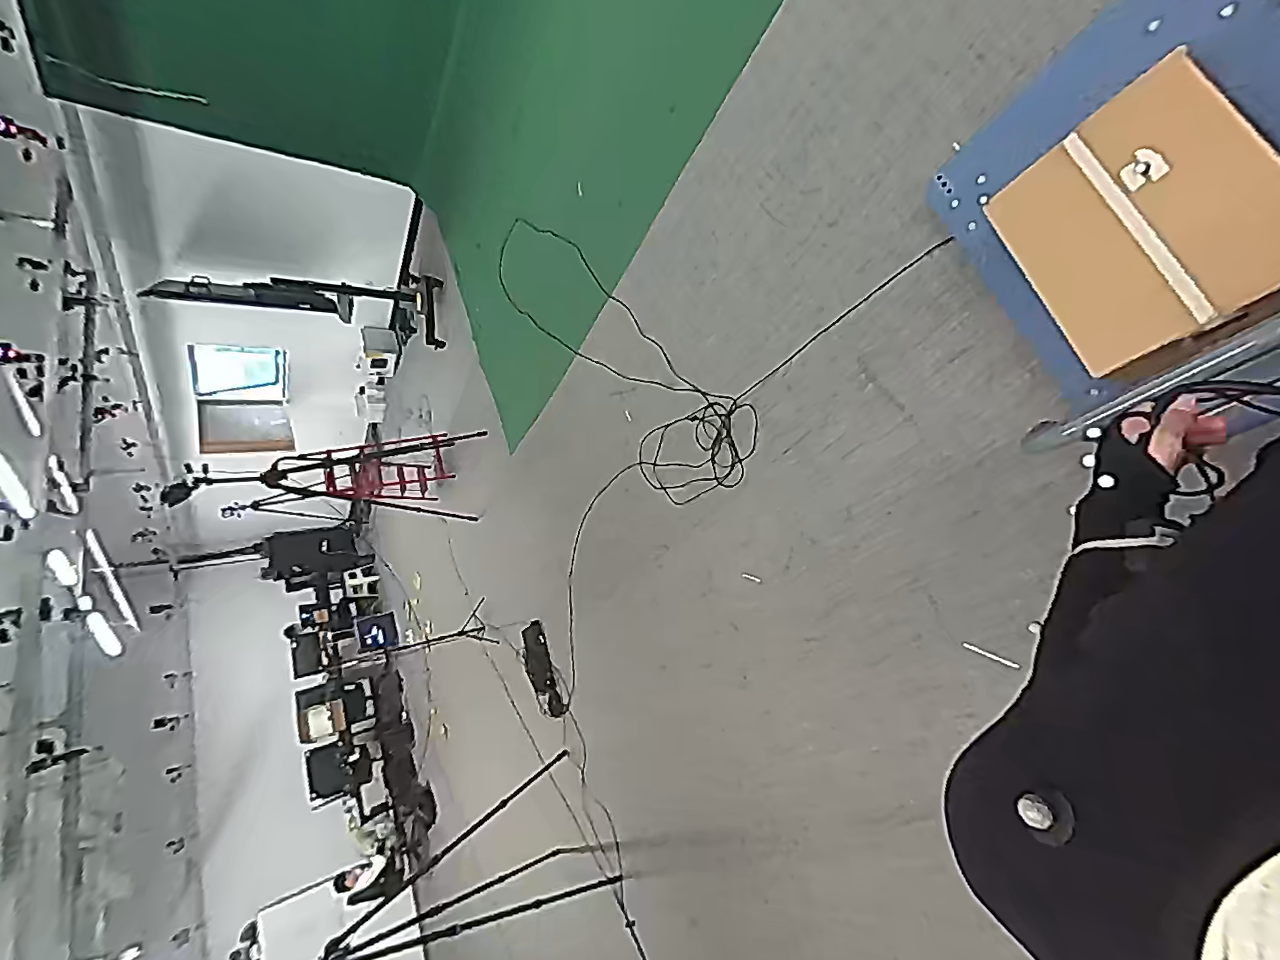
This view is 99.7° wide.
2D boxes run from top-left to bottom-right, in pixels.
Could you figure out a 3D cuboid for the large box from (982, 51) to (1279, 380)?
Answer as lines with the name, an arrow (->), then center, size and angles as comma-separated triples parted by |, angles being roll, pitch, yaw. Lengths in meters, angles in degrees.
large box -> 0.927, -0.434, 0.972 | 0.320, 0.320, 0.408 | -39, 64, 47
